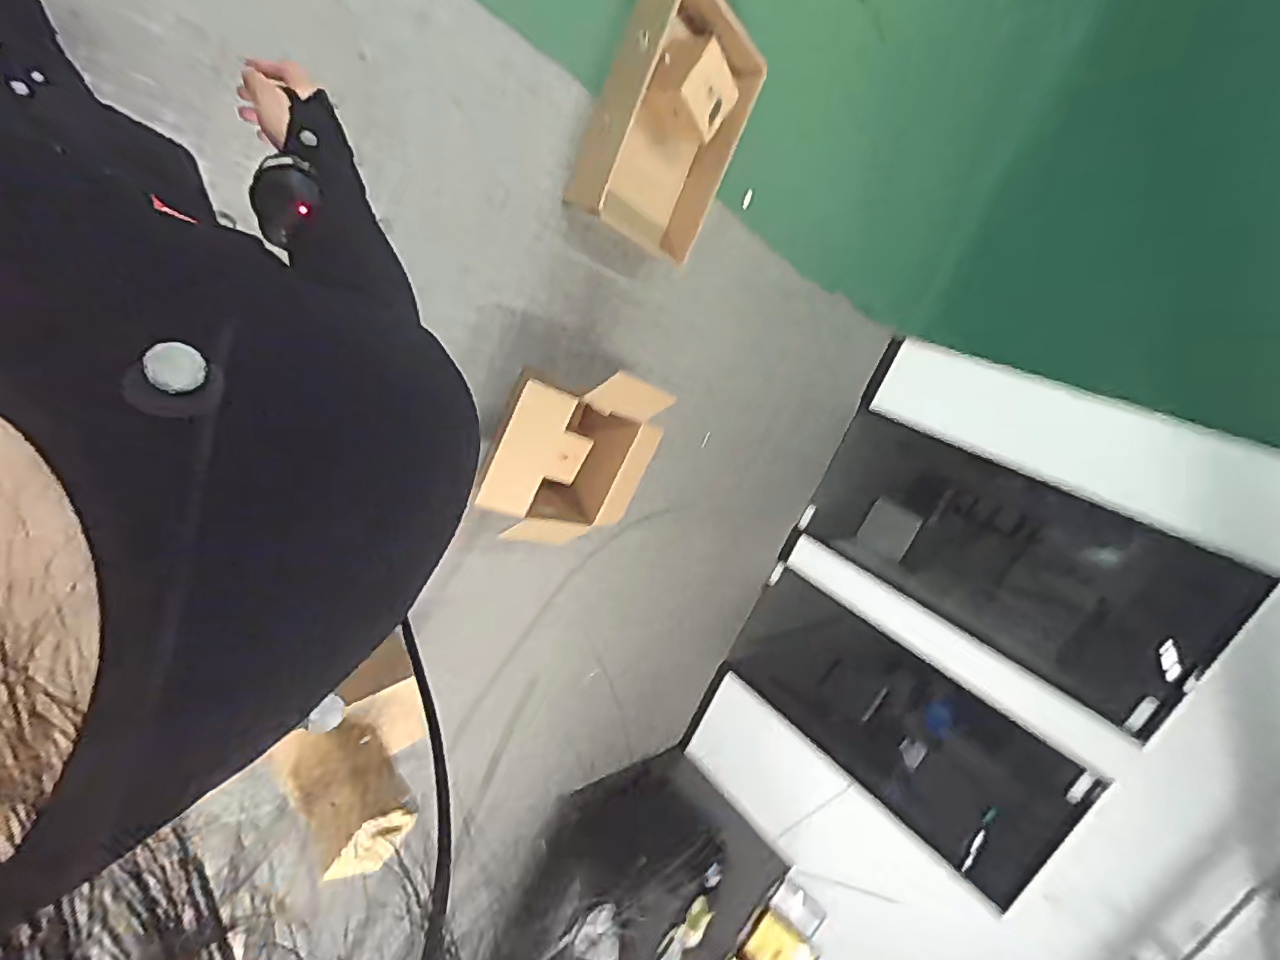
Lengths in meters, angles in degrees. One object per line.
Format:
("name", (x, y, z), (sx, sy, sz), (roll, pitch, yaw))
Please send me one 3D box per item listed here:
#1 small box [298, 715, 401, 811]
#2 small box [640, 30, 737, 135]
("small box", (-0.821, 0.787, 1.521), (0.179, 0.176, 0.168), (-55, 142, -3))
("small box", (0.135, -1.117, 1.518), (0.168, 0.176, 0.179), (-56, 143, 3))
